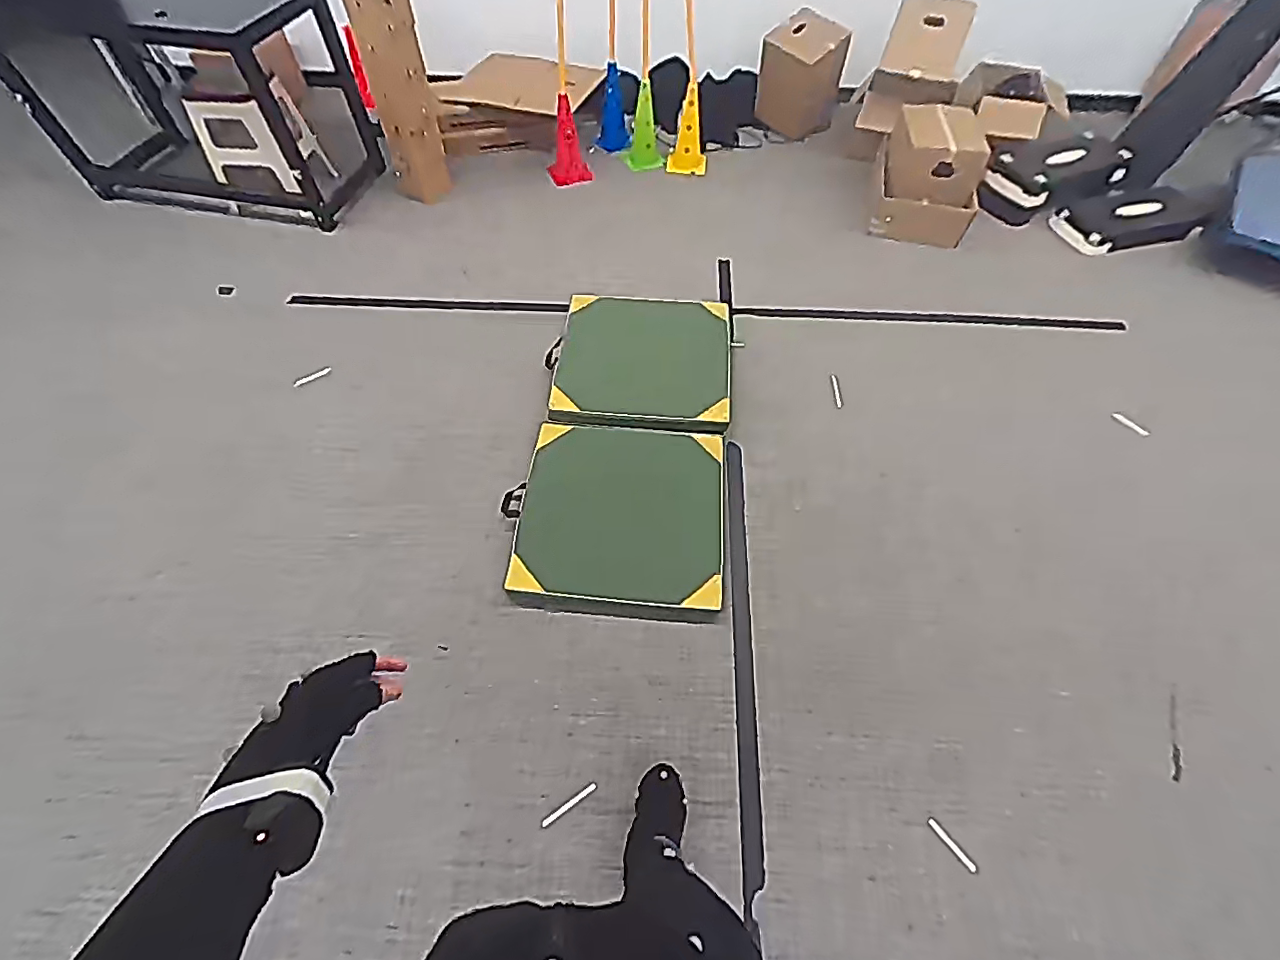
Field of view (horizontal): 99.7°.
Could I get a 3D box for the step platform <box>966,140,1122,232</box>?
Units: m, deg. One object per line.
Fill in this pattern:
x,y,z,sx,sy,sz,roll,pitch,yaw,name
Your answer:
1.957,-1.430,2.616,0.684,0.204,0.286,-22,60,-14,step platform
